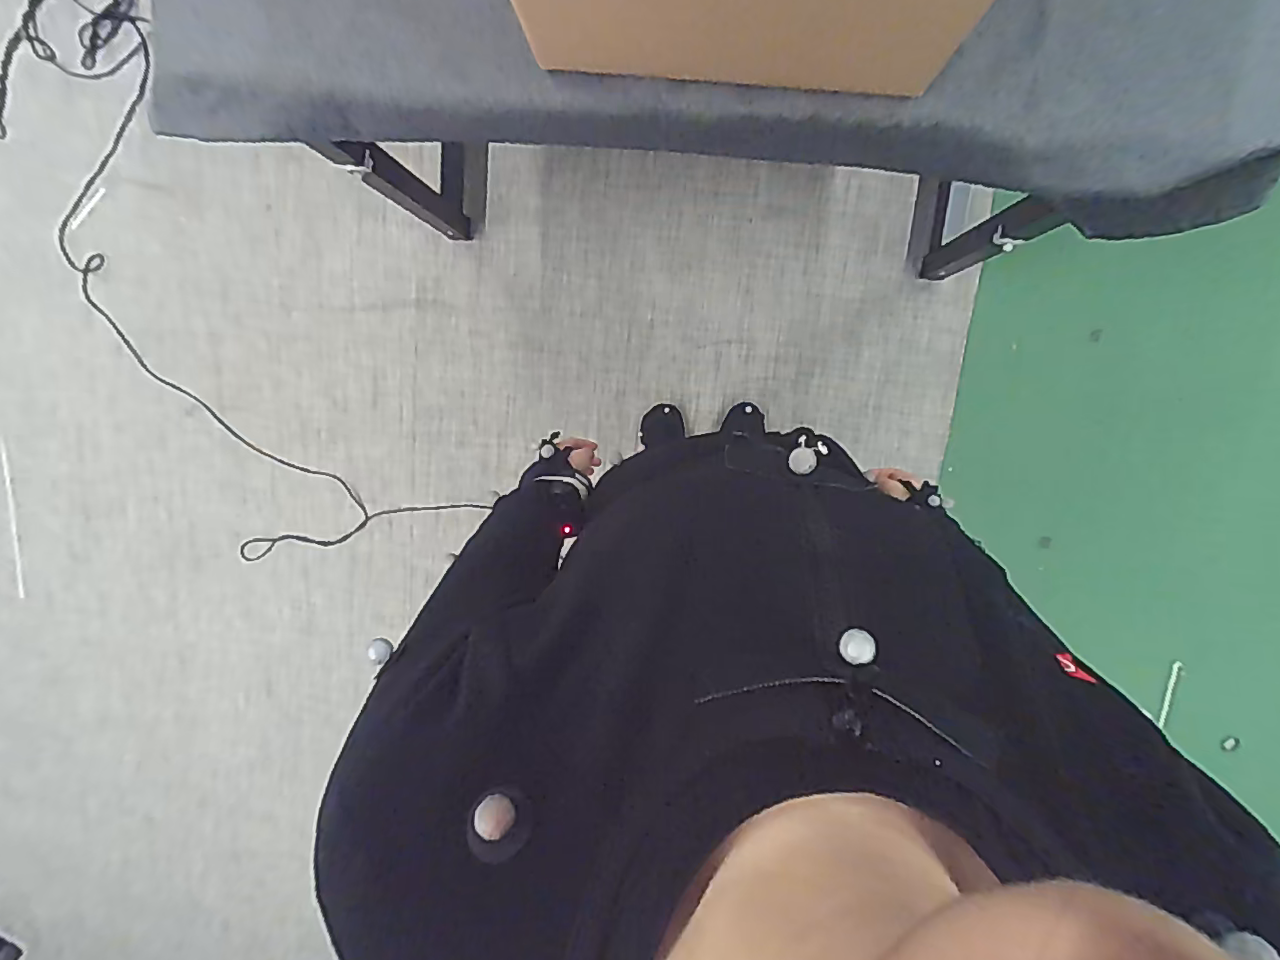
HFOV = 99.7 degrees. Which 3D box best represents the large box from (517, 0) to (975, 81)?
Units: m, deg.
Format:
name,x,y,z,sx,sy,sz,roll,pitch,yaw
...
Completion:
name,x,y,z,sx,sy,sz,roll,pitch,yaw
large box,0.091,-0.555,0.399,0.408,0.320,0.320,6,98,3
